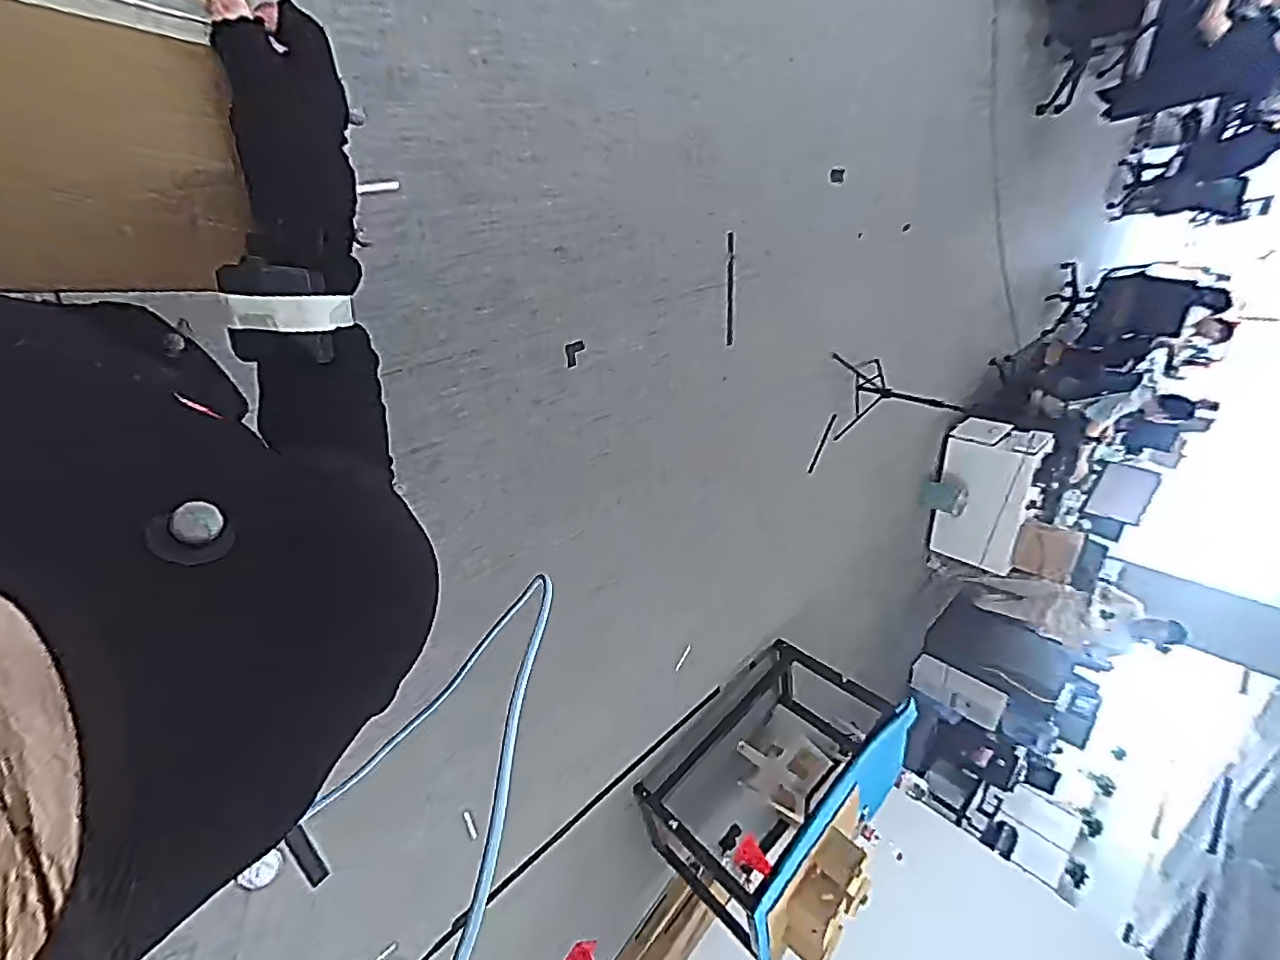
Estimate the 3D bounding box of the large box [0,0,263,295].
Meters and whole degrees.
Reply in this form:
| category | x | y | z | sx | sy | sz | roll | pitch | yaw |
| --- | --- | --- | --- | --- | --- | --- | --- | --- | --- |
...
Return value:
| category | x | y | z | sx | sy | sz | roll | pitch | yaw |
| --- | --- | --- | --- | --- | --- | --- | --- | --- | --- |
| large box | -0.461 | -0.299 | 0.239 | 0.408 | 0.320 | 0.320 | -21 | 147 | -43 |
